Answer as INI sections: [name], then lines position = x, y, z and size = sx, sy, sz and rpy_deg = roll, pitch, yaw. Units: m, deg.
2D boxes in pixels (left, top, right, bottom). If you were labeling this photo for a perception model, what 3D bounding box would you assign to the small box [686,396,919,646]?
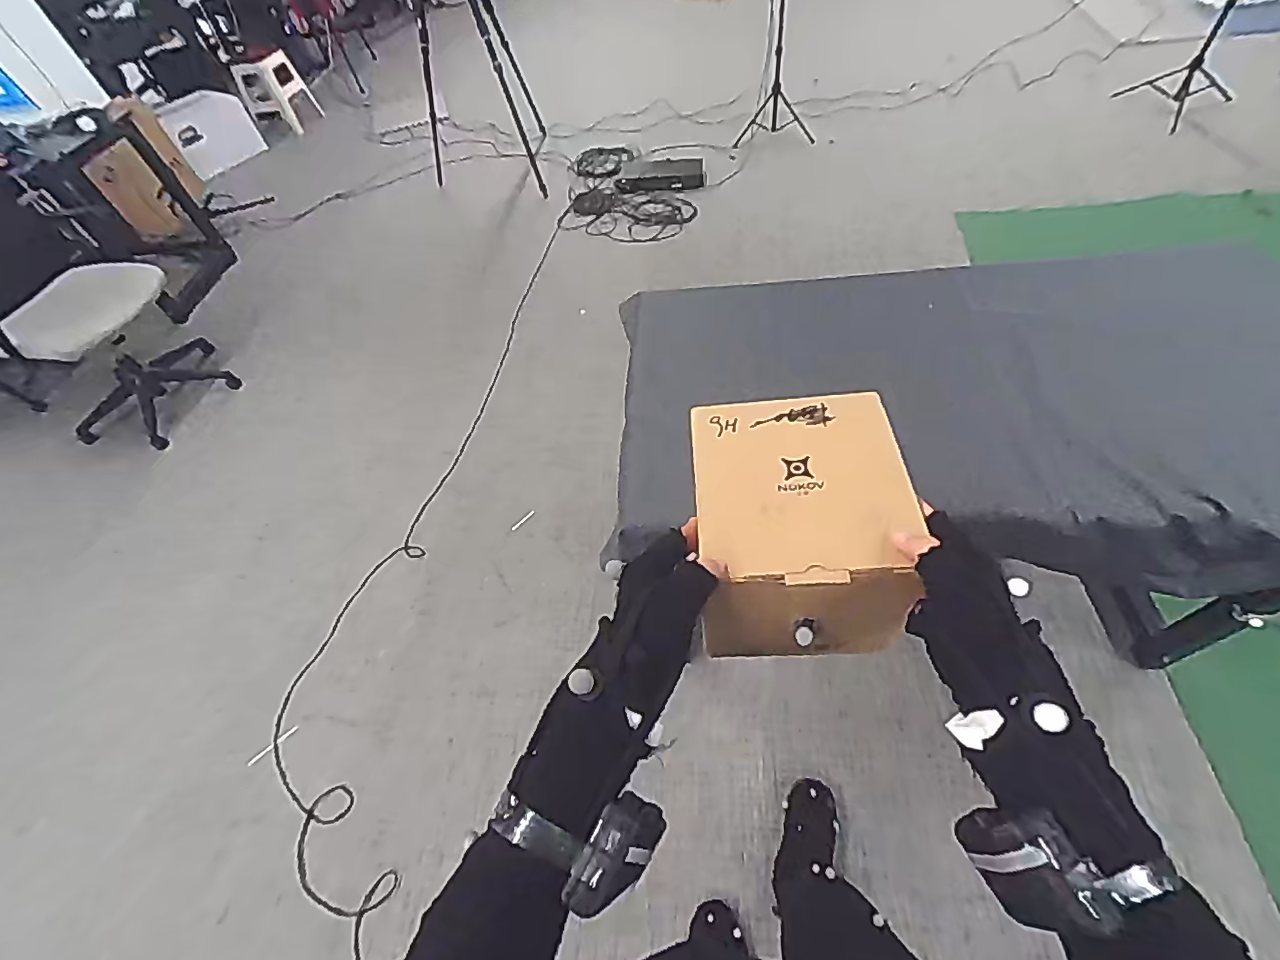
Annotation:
[small box]
position = 0.134, 0.048, 0.505
size = 0.168, 0.176, 0.179
rpy_deg = -4, 54, 7
